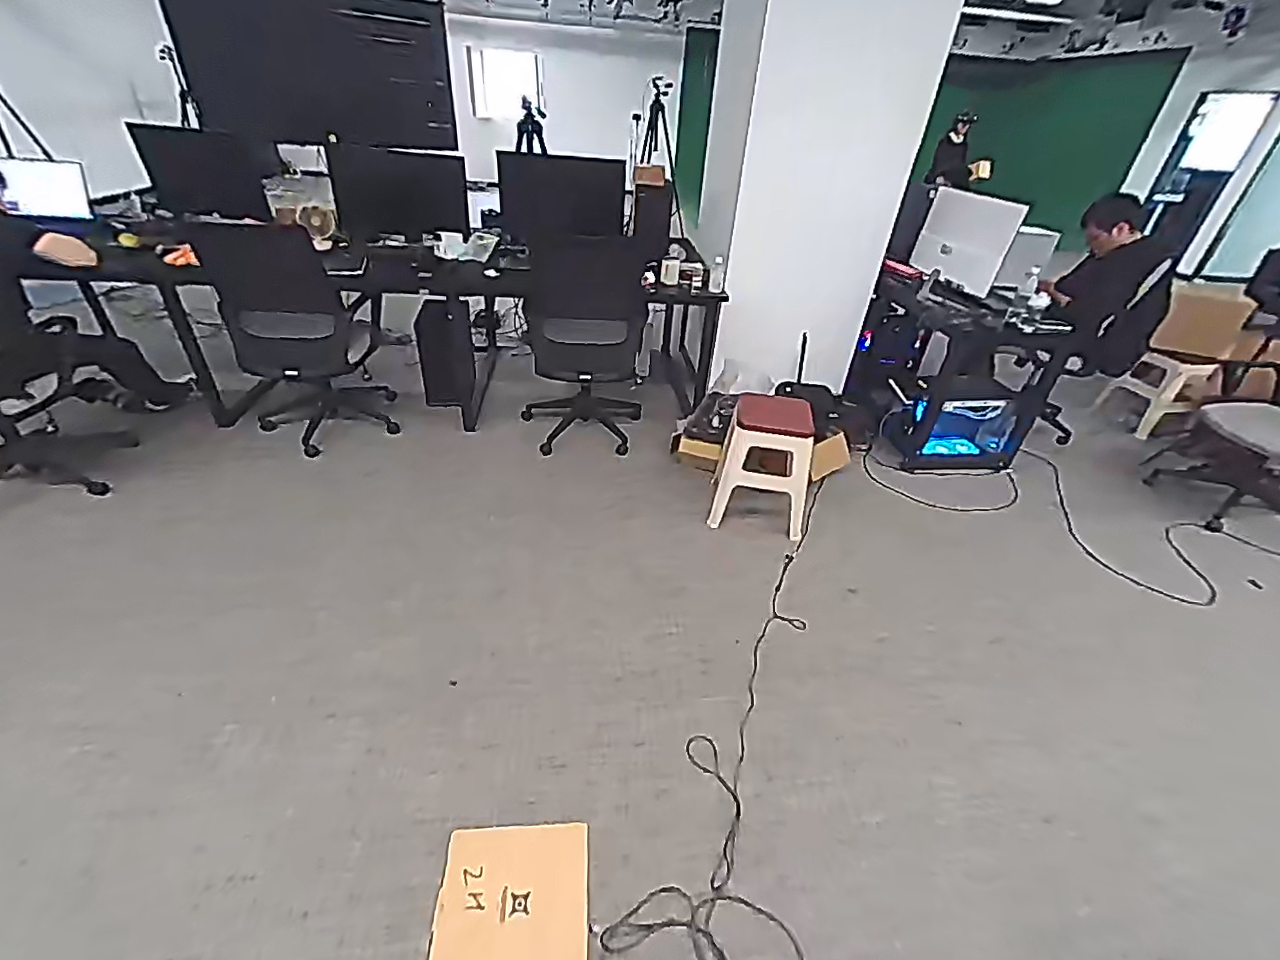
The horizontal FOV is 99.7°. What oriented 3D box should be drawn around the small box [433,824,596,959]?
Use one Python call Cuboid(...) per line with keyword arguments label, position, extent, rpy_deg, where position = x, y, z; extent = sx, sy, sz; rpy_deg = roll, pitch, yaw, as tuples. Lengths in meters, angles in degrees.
Cuboid(label="small box", position=(-0.143, 0.558, 0.672), extent=(0.179, 0.176, 0.168), rpy_deg=(-1, 34, -4))
